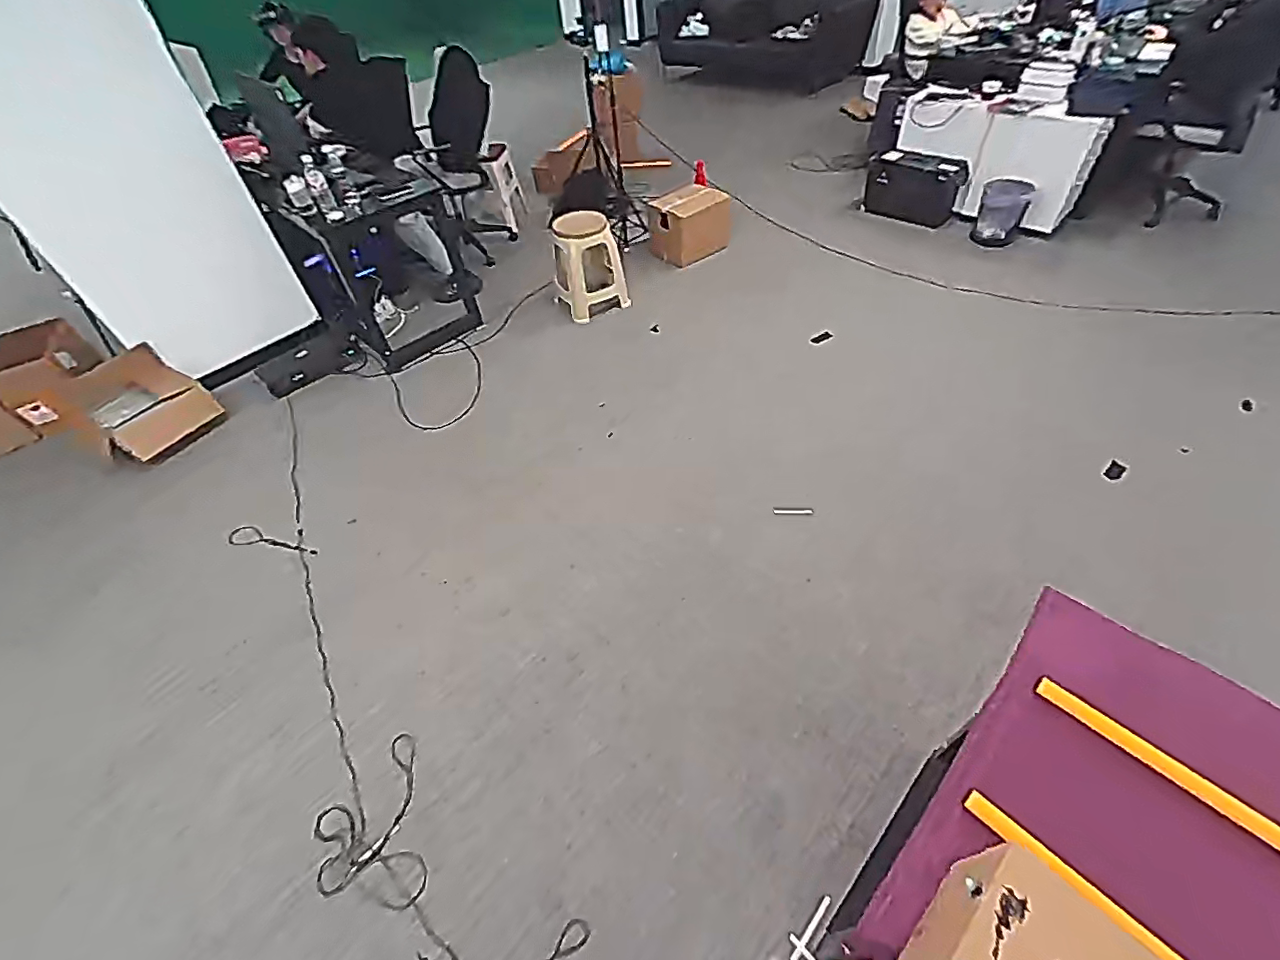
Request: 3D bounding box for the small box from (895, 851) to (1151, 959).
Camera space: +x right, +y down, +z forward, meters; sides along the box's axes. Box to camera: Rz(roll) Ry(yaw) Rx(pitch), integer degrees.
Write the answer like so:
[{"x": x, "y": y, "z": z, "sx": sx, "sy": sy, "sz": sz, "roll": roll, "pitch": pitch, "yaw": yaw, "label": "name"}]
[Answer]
[{"x": 0.394, "y": 0.519, "z": 0.543, "sx": 0.168, "sy": 0.176, "sz": 0.179, "roll": -36, "pitch": 56, "yaw": -24, "label": "small box"}]
